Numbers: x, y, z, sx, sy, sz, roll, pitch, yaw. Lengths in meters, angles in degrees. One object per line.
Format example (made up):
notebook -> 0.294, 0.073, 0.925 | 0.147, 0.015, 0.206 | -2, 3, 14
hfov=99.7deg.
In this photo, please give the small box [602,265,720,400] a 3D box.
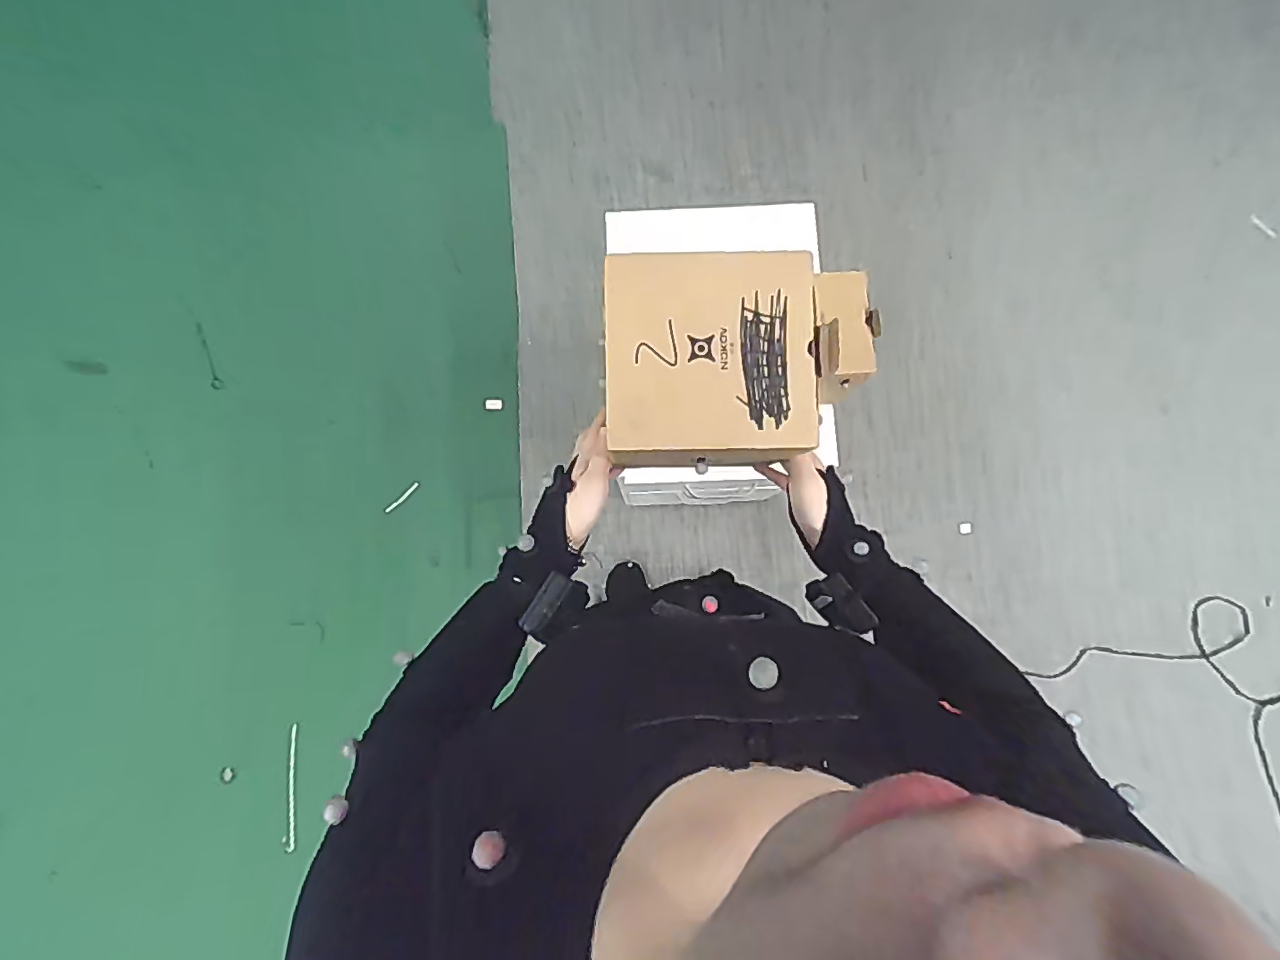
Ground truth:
small box -> 0.032, -0.236, 0.899 | 0.179, 0.176, 0.168 | -3, 82, -1
